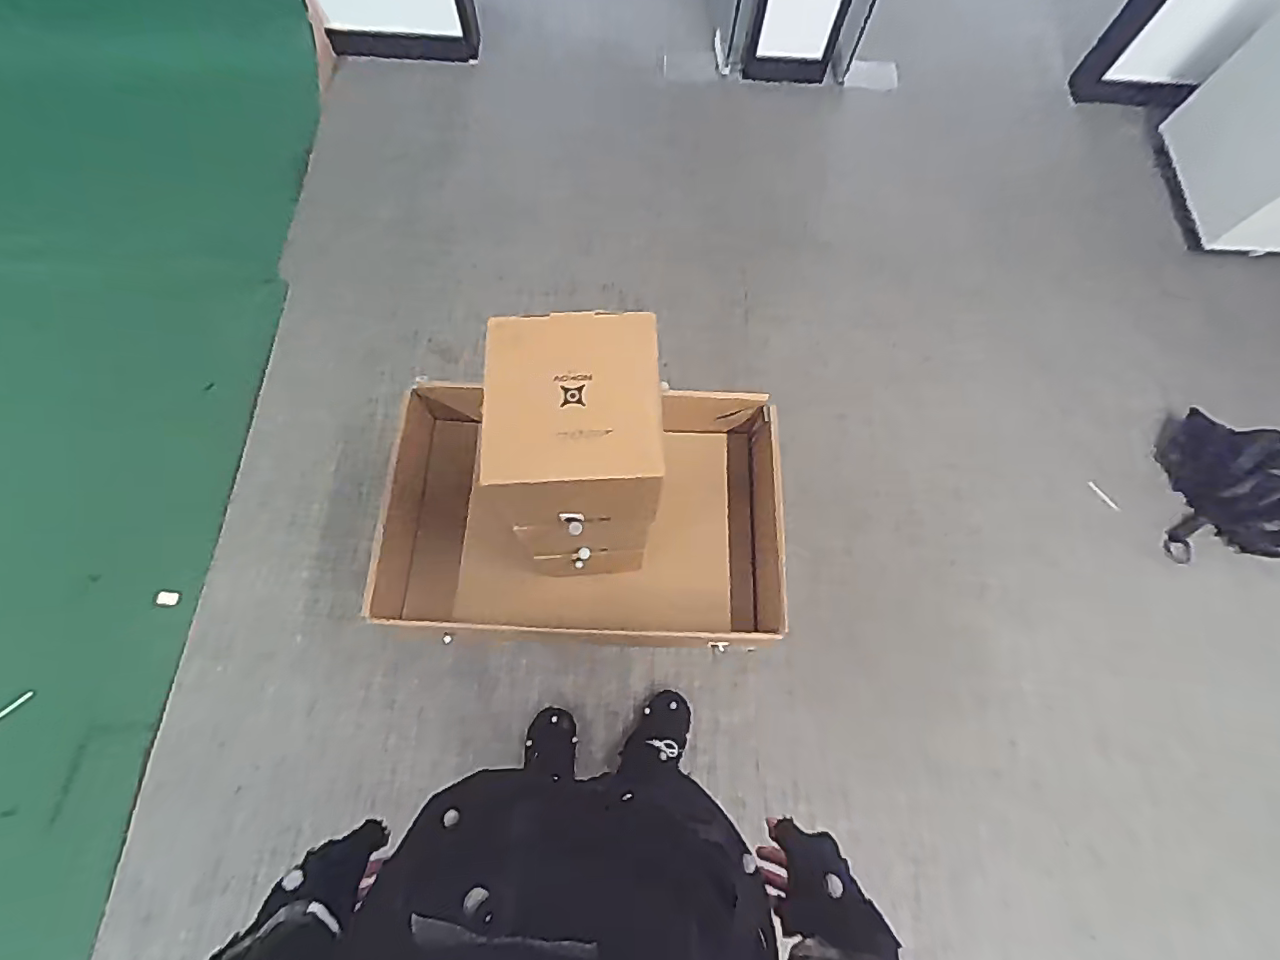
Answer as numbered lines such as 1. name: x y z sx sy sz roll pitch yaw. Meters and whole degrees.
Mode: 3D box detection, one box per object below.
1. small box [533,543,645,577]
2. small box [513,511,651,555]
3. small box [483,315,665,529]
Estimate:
1. small box: -0.082 0.053 0.890 0.168 0.176 0.179 -4 70 -2
2. small box: -0.075 -0.003 0.736 0.168 0.176 0.179 -3 72 -3
3. small box: -0.064 -0.054 0.583 0.168 0.176 0.179 -3 72 -1
